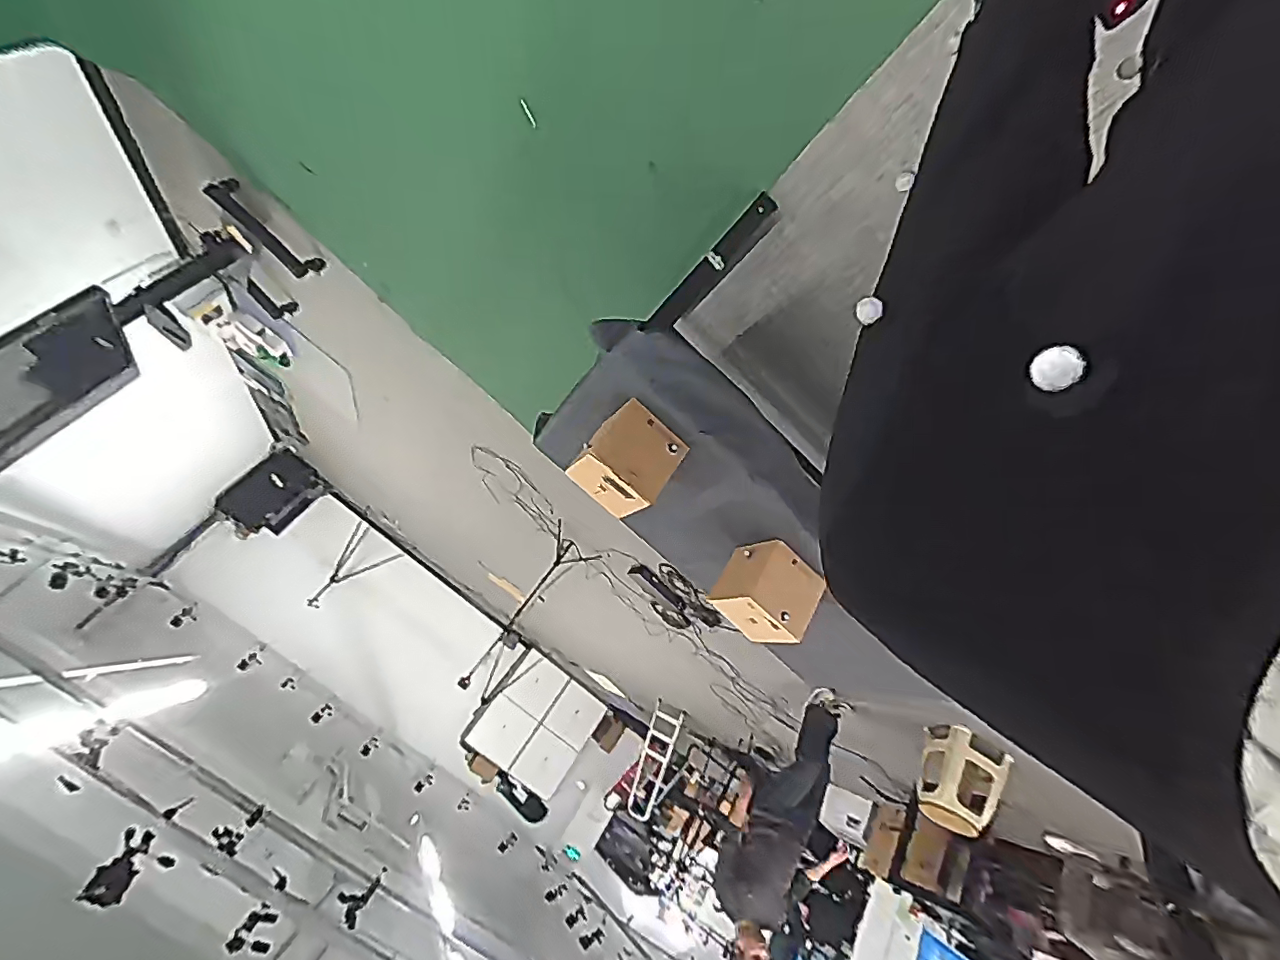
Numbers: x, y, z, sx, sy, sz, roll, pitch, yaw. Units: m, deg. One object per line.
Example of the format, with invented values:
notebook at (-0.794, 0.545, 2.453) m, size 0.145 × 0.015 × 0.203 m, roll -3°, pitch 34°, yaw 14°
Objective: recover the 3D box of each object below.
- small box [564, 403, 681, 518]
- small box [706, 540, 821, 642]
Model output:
small box at (-0.034, -0.042, 1.188) m, size 0.168 × 0.176 × 0.179 m, roll 42°, pitch 154°, yaw -11°
small box at (0.296, 0.263, 1.288) m, size 0.168 × 0.176 × 0.179 m, roll 42°, pitch 153°, yaw -11°
